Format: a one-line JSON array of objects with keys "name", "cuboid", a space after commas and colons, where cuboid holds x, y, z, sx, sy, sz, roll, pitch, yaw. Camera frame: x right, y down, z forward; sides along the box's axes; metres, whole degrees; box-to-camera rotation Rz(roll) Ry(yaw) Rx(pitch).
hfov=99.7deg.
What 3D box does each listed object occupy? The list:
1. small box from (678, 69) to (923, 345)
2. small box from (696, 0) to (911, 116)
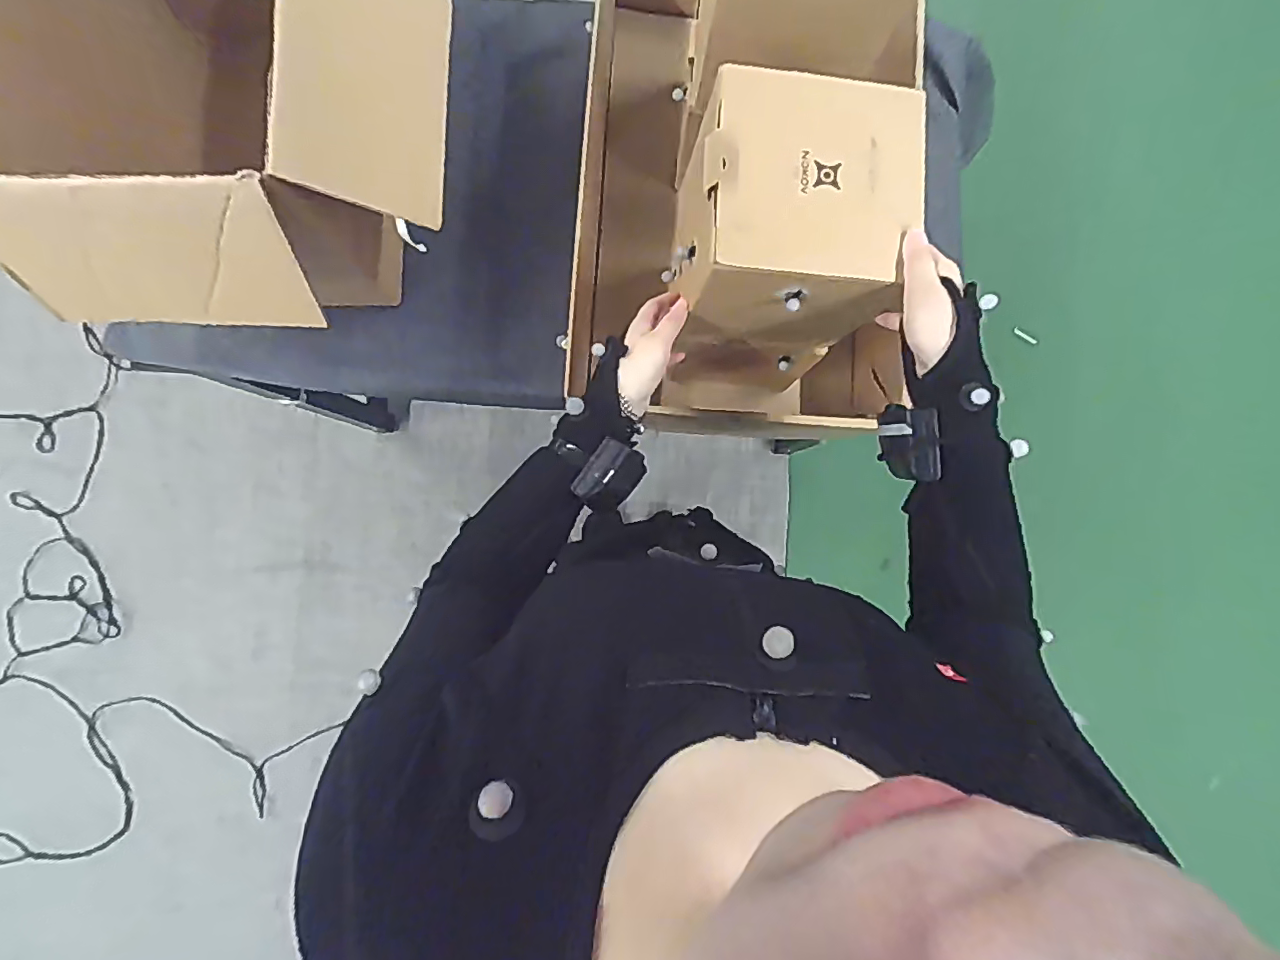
[{"name": "small box", "cuboid": [0.135, -0.236, 0.512, 0.179, 0.176, 0.168, 3, 87, -7]}, {"name": "small box", "cuboid": [0.151, -0.489, 0.530, 0.168, 0.176, 0.179, 5, 88, -1]}]
